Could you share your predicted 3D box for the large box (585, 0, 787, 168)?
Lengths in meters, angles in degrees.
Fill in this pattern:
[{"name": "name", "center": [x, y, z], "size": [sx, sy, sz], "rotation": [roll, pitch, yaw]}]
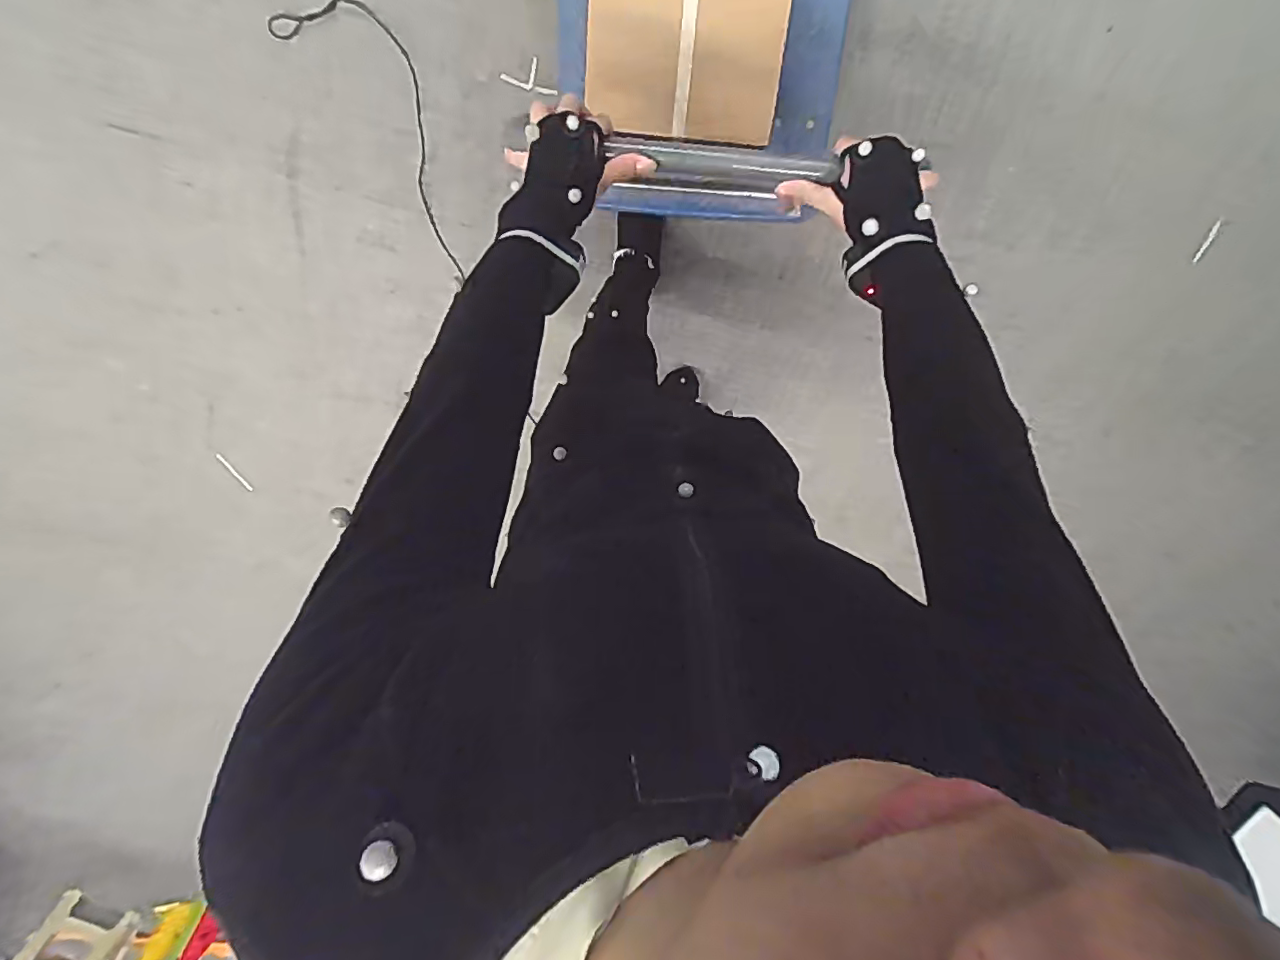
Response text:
[{"name": "large box", "center": [0.080, -0.817, 0.969], "size": [0.320, 0.320, 0.408], "rotation": [5, 112, -1]}]
